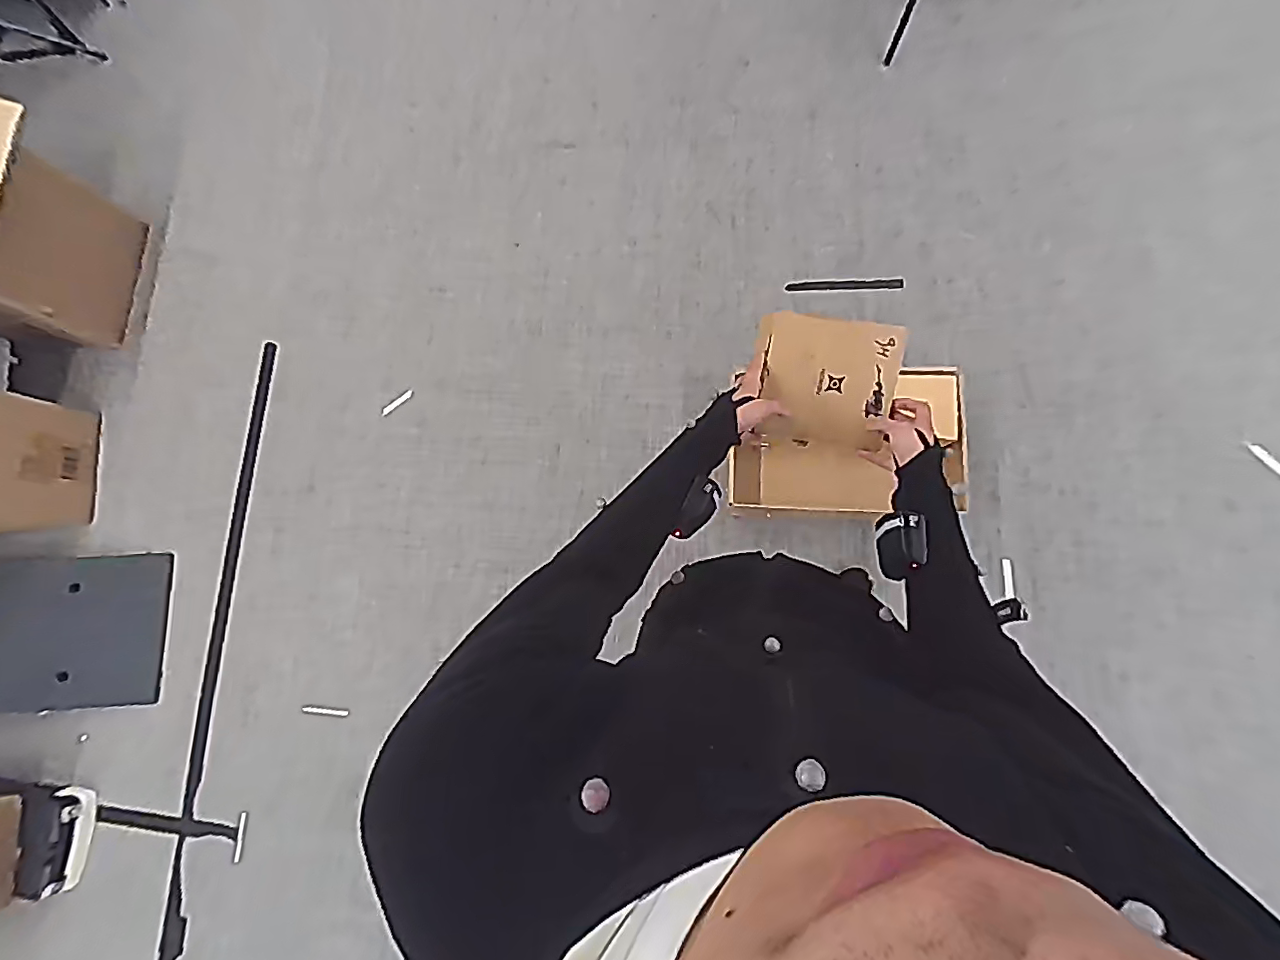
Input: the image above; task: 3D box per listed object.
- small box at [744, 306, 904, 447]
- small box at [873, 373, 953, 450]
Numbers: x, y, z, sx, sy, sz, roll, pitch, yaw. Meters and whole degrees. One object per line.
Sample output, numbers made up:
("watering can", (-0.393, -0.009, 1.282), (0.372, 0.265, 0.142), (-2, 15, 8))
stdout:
("small box", (0.253, -0.153, 0.795), (0.179, 0.176, 0.168), (9, 105, 5))
("small box", (0.749, -0.186, 1.505), (0.168, 0.176, 0.179), (2, 83, 9))
